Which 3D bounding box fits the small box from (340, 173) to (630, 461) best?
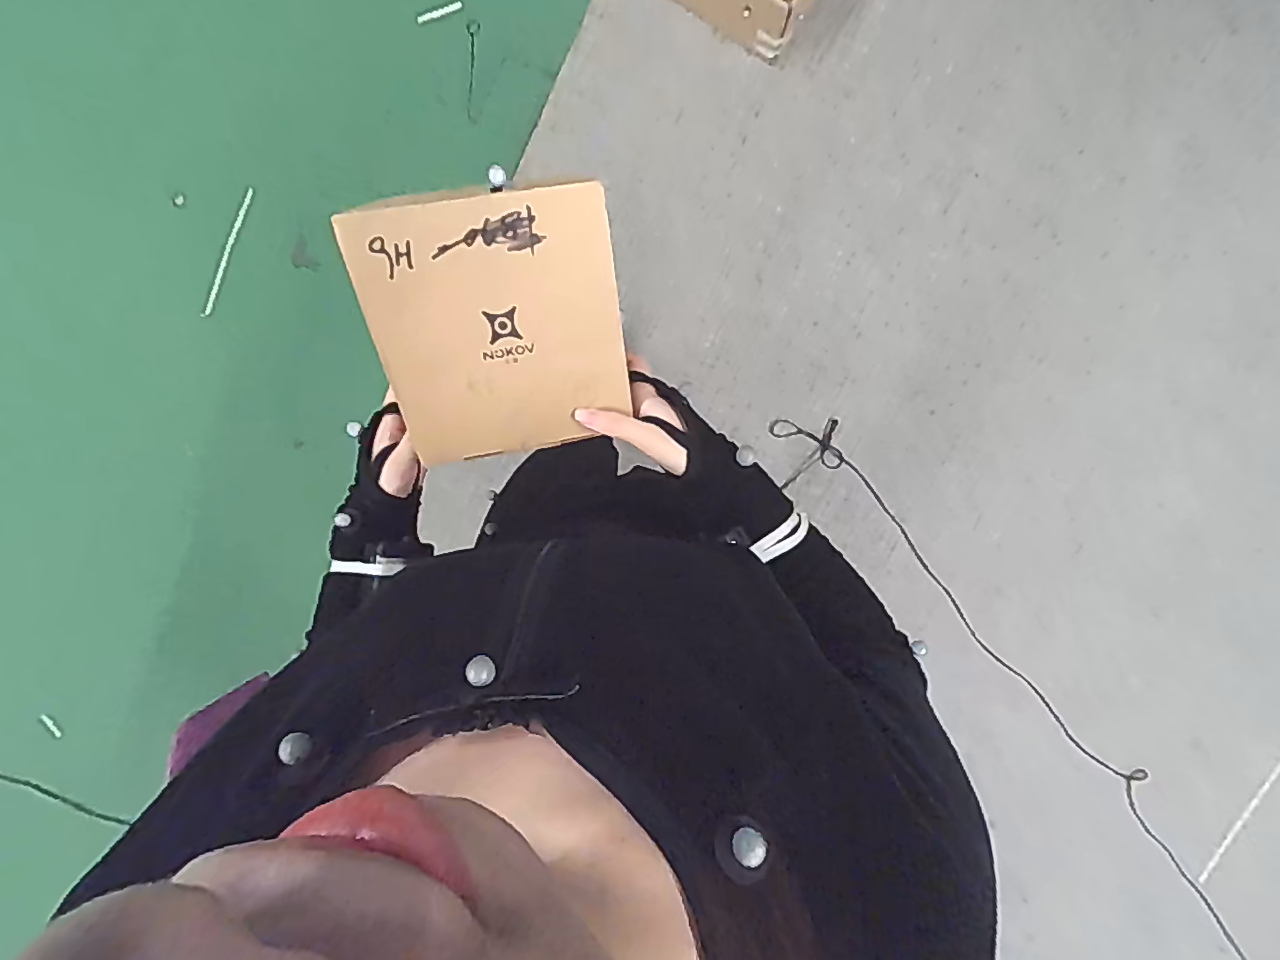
[{"bbox_3d":[-0.109,-0.142,0.443,0.168,0.176,0.179,-12,122,-8],"label":"small box"}]
